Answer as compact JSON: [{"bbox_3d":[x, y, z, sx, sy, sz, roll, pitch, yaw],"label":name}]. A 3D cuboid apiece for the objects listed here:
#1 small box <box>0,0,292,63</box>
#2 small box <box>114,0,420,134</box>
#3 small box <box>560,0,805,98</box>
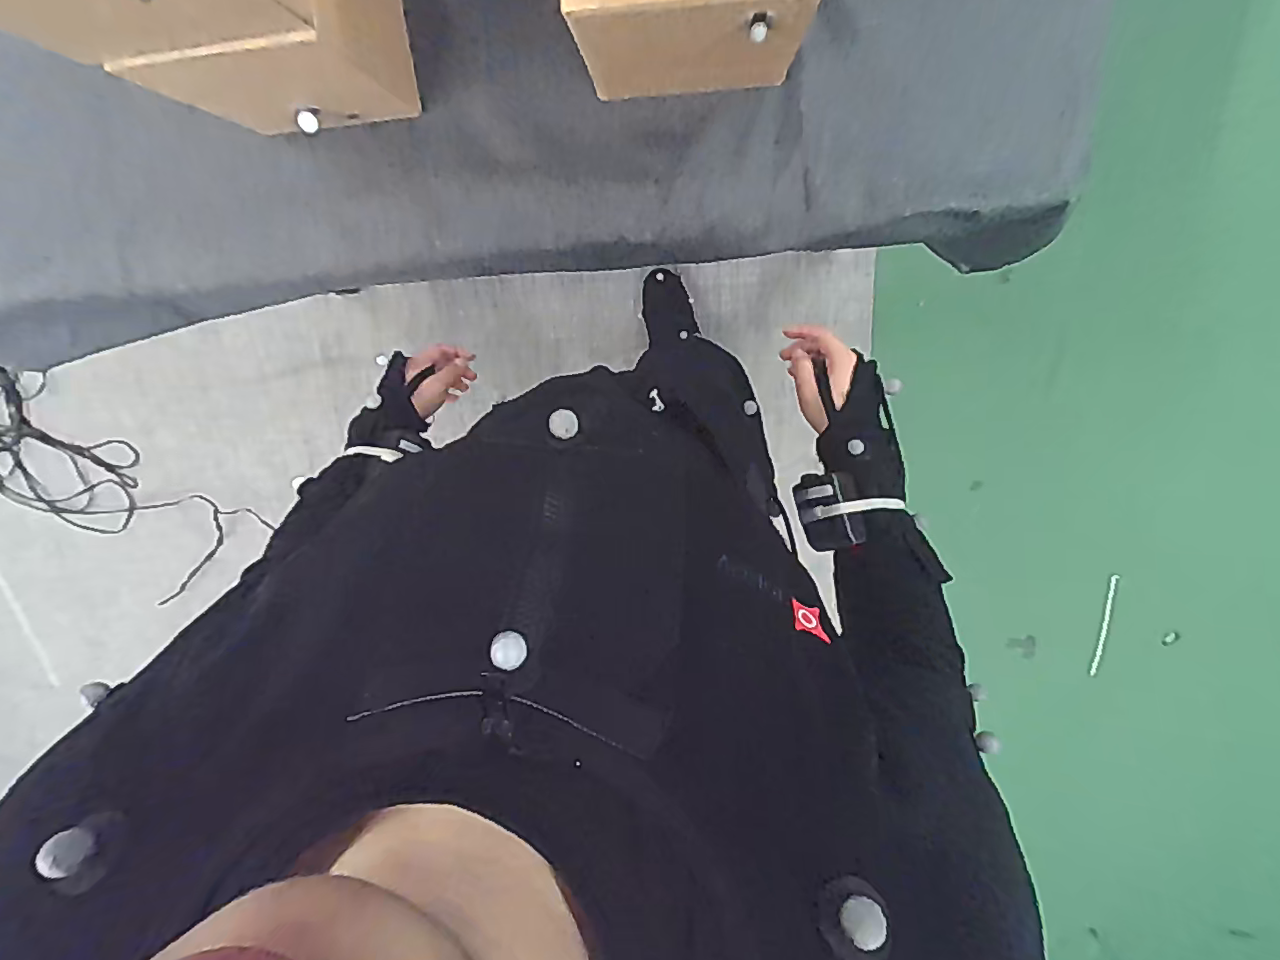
[{"bbox_3d":[-0.318,-0.355,0.279,0.179,0.176,0.168,-4,107,6],"label":"small box"},{"bbox_3d":[-0.302,-0.407,0.433,0.168,0.176,0.179,-3,109,5],"label":"small box"},{"bbox_3d":[0.034,-0.417,0.411,0.179,0.176,0.168,-2,108,4],"label":"small box"}]
